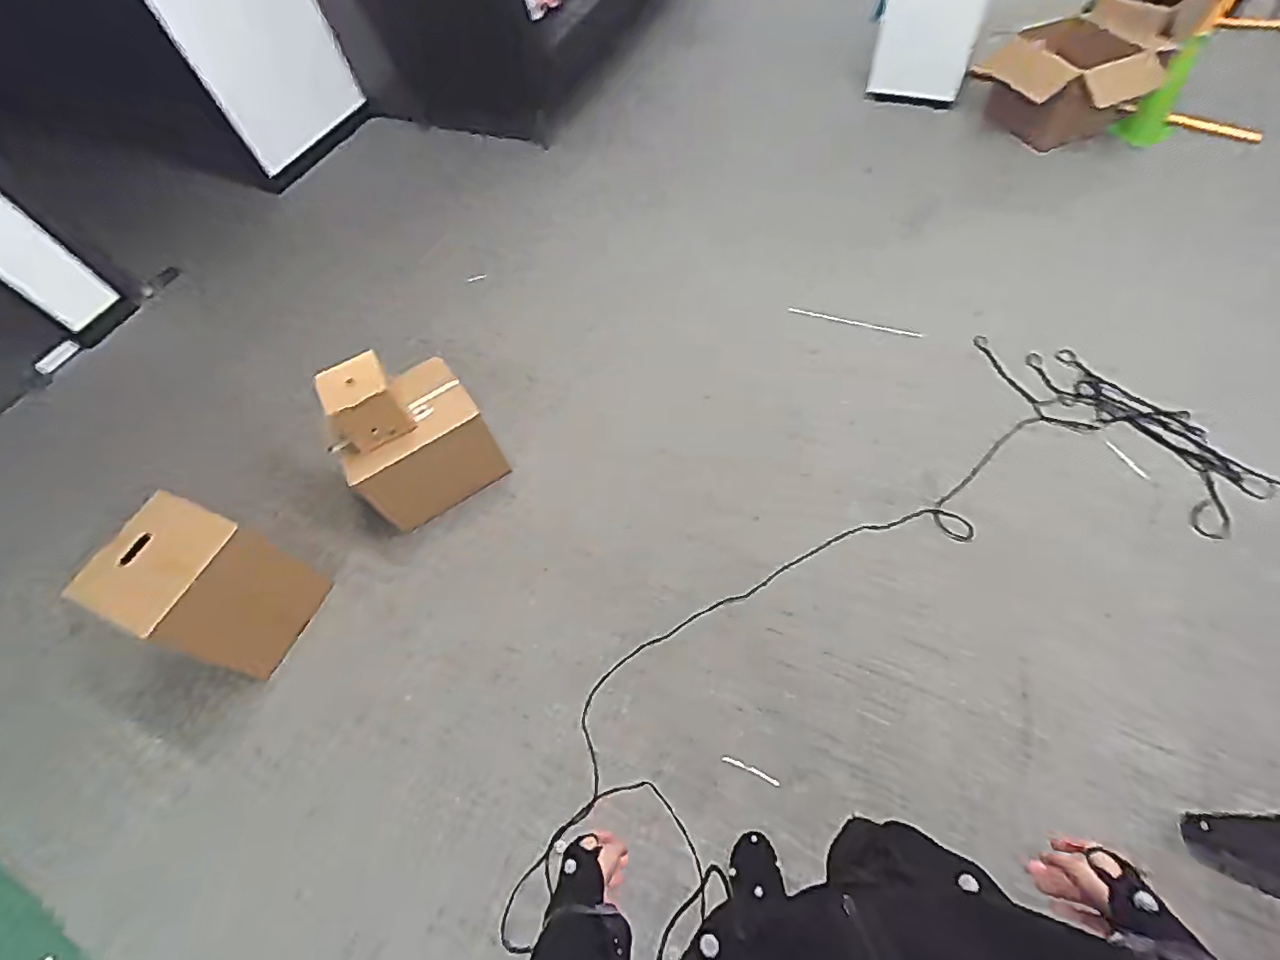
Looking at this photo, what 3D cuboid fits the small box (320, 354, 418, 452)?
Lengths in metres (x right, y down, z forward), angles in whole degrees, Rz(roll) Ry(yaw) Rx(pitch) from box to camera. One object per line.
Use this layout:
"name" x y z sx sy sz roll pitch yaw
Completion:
"small box" -0.751 -0.211 1.506 0.168 0.176 0.179 -29 59 -10

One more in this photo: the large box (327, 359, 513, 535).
"large box" -0.681 -0.101 1.716 0.408 0.320 0.320 -32 60 -14
